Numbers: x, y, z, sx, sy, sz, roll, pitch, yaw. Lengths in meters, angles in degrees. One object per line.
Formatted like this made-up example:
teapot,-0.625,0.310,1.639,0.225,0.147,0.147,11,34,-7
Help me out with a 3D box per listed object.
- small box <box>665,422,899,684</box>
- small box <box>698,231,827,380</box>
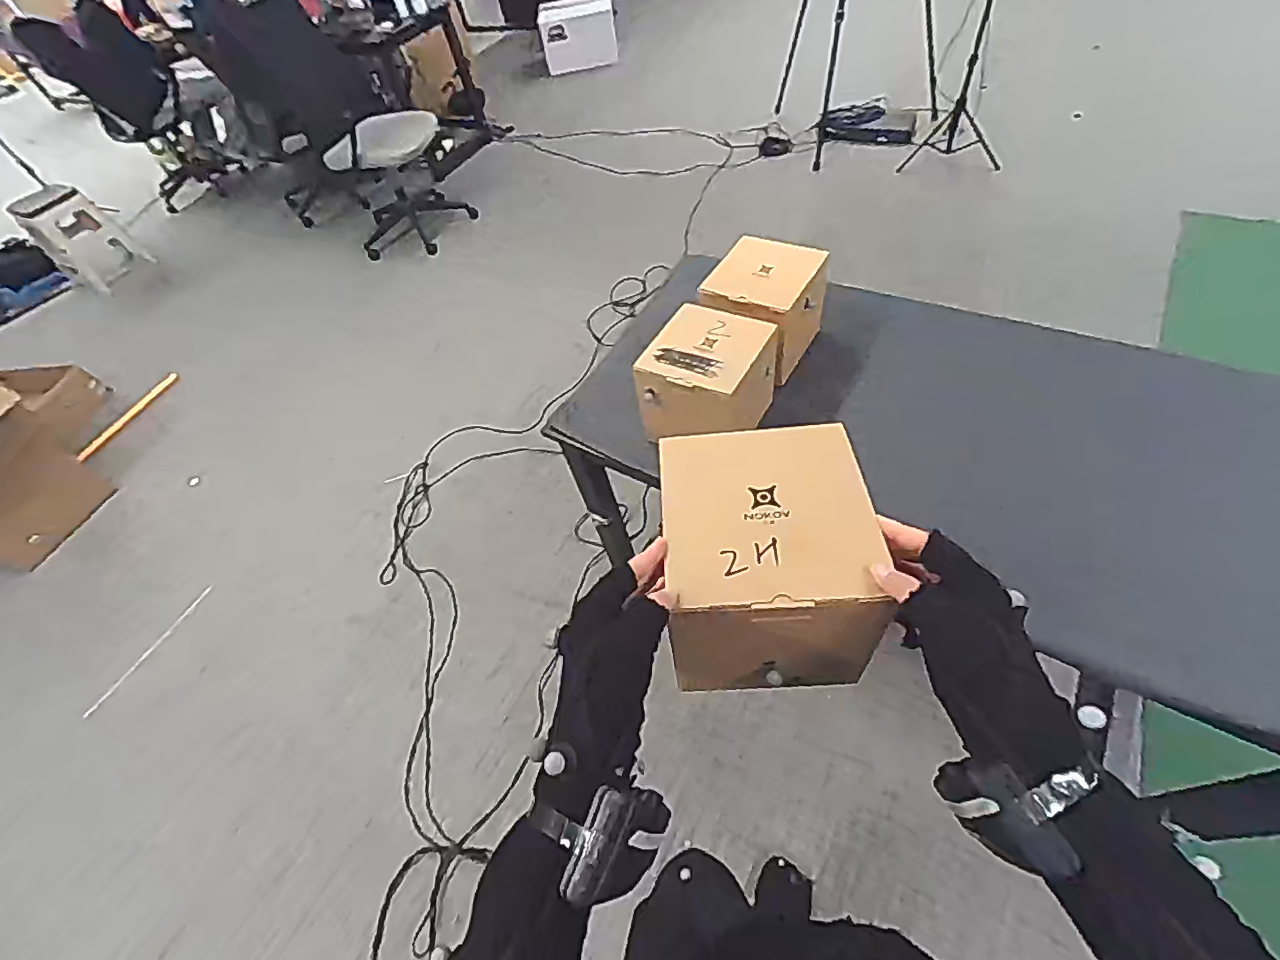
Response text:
small box,0.108,0.069,0.496,0.168,0.176,0.179,-4,50,5
small box,0.219,-0.317,0.987,0.168,0.176,0.179,24,63,24
